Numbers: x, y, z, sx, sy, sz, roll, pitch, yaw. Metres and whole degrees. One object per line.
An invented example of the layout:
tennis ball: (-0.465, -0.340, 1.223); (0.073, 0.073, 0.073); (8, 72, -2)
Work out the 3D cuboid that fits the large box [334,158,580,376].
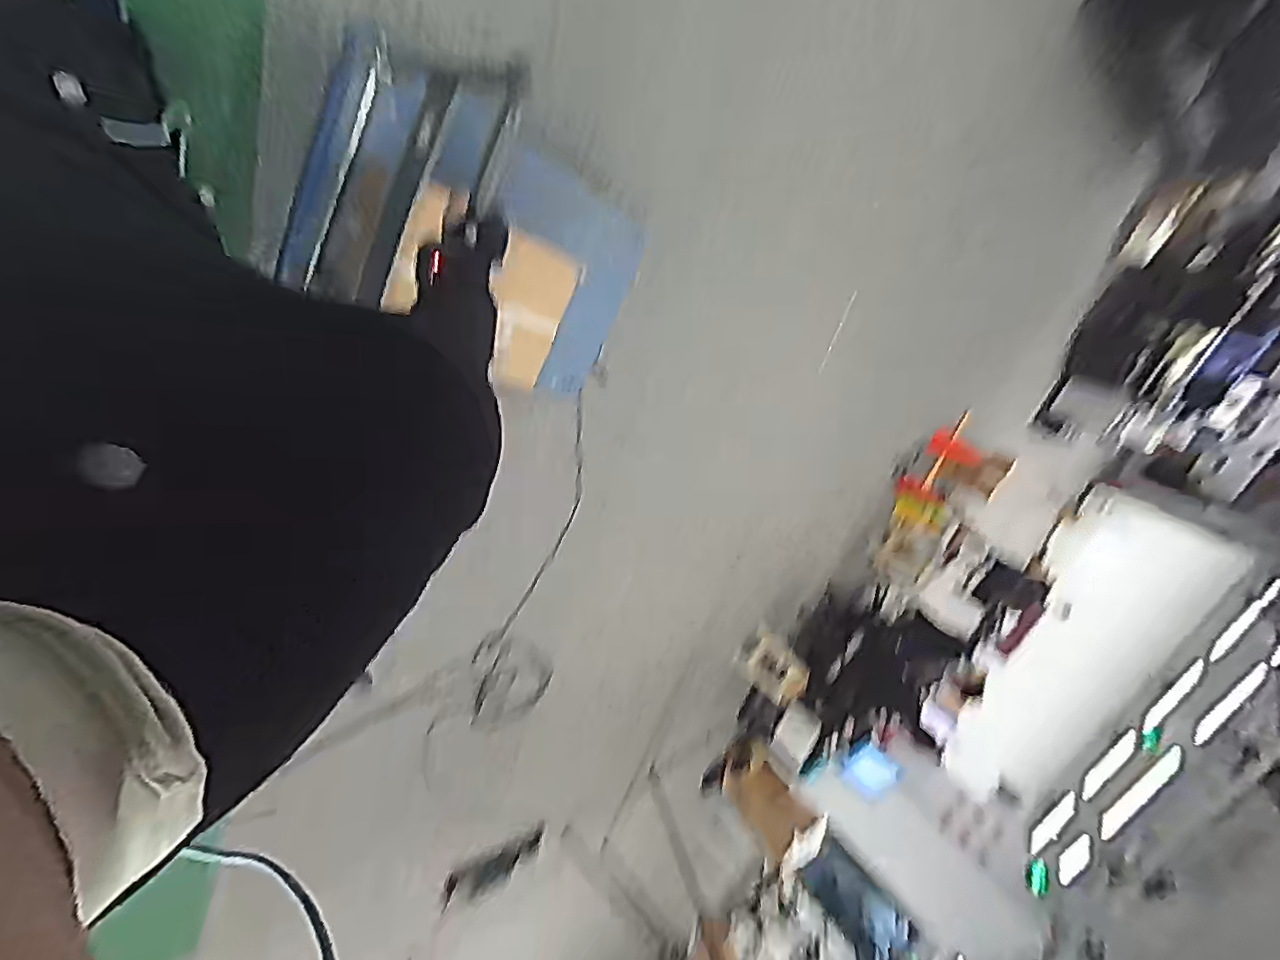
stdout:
large box: (-0.426, -0.479, 1.251); (0.408, 0.320, 0.320); (9, 113, -47)
